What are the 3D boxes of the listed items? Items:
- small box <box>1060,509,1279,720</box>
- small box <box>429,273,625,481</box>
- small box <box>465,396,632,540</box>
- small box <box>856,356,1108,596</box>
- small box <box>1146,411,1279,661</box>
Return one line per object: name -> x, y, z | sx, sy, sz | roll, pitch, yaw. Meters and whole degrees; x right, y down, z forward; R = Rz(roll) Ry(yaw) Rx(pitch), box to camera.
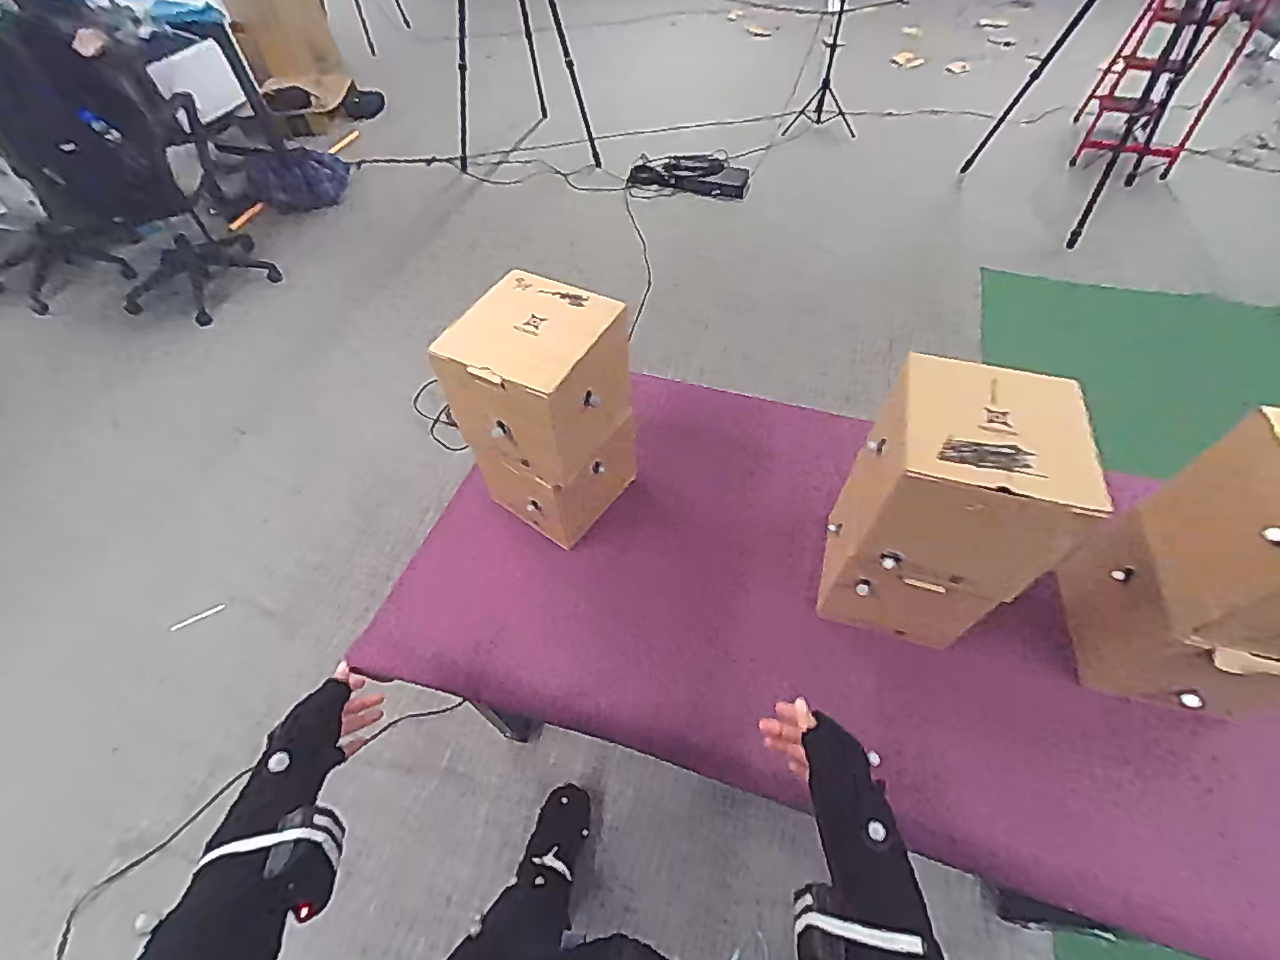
small box -> 0.653, 0.164, 0.654 | 0.168, 0.176, 0.179 | 11, 55, 10
small box -> -0.124, -0.127, 0.687 | 0.168, 0.176, 0.179 | 19, 56, 15
small box -> -0.122, -0.043, 0.805 | 0.168, 0.176, 0.179 | 31, 59, 21
small box -> 0.341, 0.000, 0.578 | 0.168, 0.176, 0.179 | 14, 53, 11
small box -> 0.654, 0.065, 0.525 | 0.168, 0.176, 0.179 | 12, 55, 10
